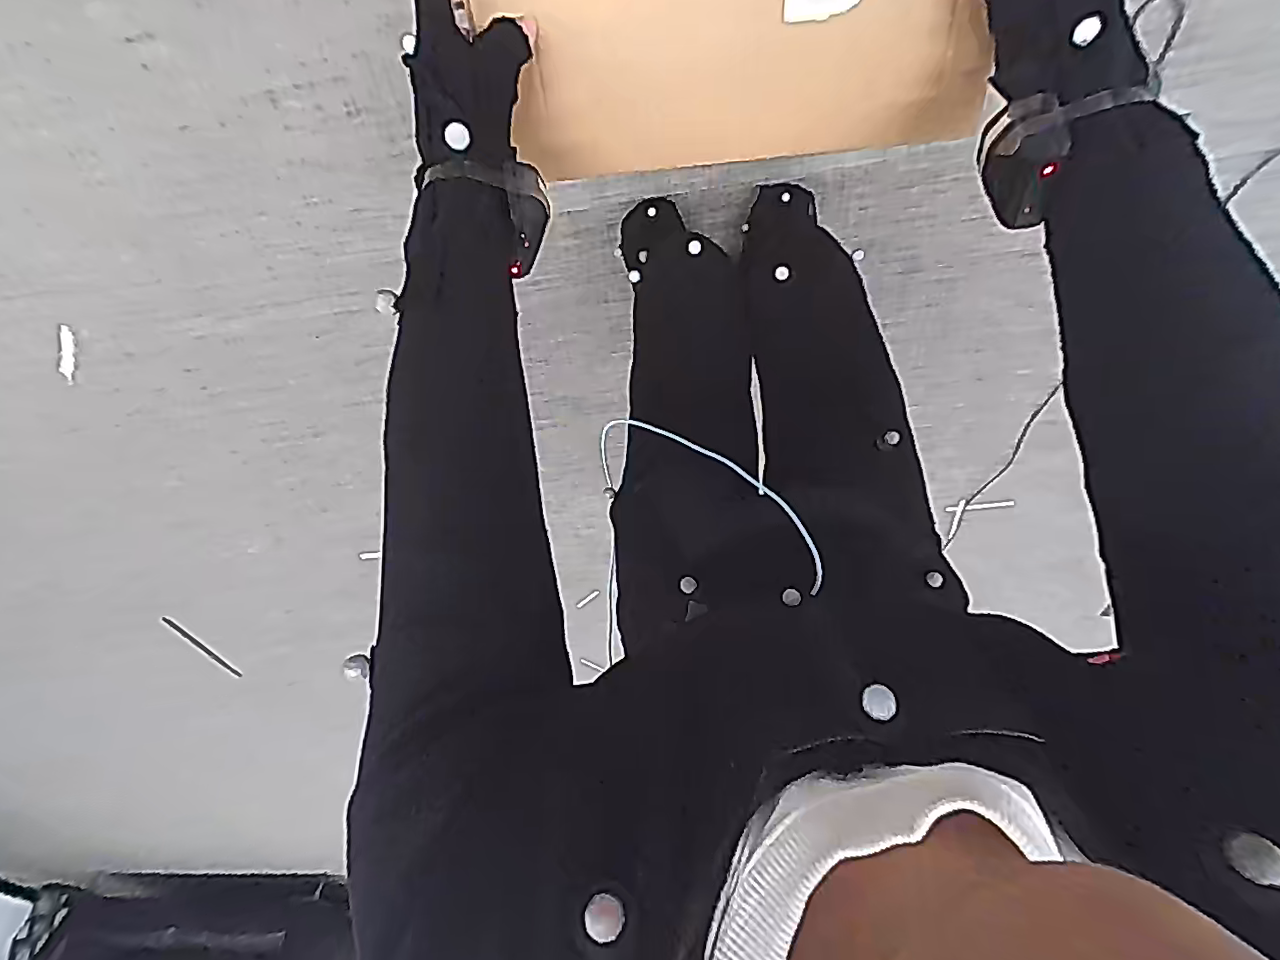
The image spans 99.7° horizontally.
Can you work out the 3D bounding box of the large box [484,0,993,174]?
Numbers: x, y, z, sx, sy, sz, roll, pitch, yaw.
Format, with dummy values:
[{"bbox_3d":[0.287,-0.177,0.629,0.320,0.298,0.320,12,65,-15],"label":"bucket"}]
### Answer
[{"bbox_3d":[0.072,-0.508,0.509,0.408,0.320,0.320,-4,128,5],"label":"large box"}]
